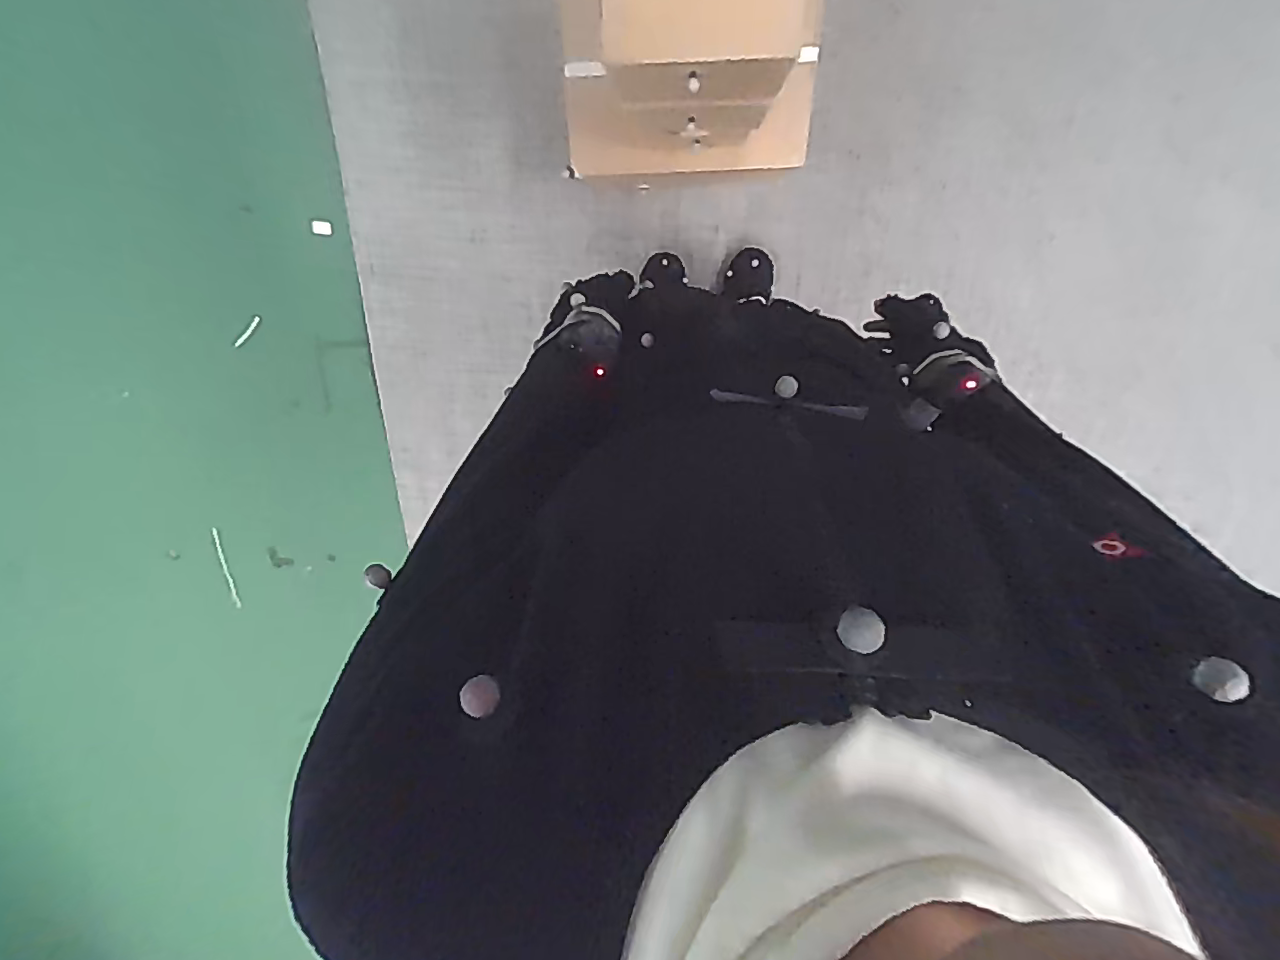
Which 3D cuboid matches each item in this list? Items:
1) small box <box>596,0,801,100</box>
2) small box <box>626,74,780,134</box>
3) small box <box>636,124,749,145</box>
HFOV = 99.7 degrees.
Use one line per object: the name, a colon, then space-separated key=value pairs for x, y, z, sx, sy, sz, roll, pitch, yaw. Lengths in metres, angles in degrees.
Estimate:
small box: x=0.057 y=-0.474 z=0.511 sx=0.179 sy=0.176 sz=0.168 roll=2 pitch=116 yaw=5
small box: x=0.073 y=-0.535 z=0.660 sx=0.179 sy=0.176 sz=0.168 roll=-1 pitch=115 yaw=6
small box: x=0.082 y=-0.610 z=0.807 sx=0.168 sy=0.176 sz=0.179 roll=0 pitch=115 yaw=7
